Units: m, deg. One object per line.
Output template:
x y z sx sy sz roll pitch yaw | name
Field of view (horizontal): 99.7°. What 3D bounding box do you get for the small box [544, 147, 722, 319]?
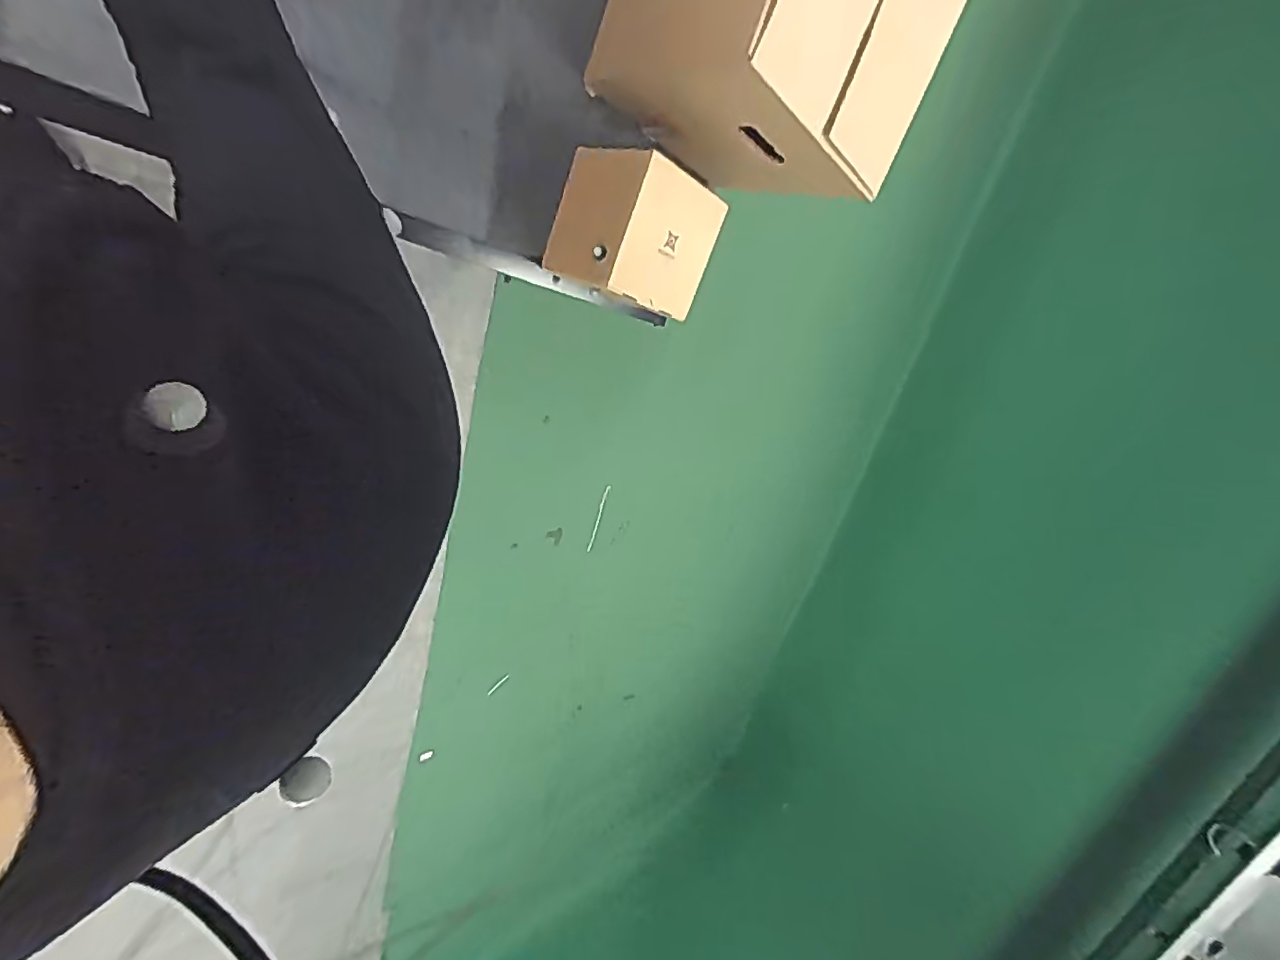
-0.016 -0.363 0.796 0.168 0.176 0.179 5 113 -47 | small box
